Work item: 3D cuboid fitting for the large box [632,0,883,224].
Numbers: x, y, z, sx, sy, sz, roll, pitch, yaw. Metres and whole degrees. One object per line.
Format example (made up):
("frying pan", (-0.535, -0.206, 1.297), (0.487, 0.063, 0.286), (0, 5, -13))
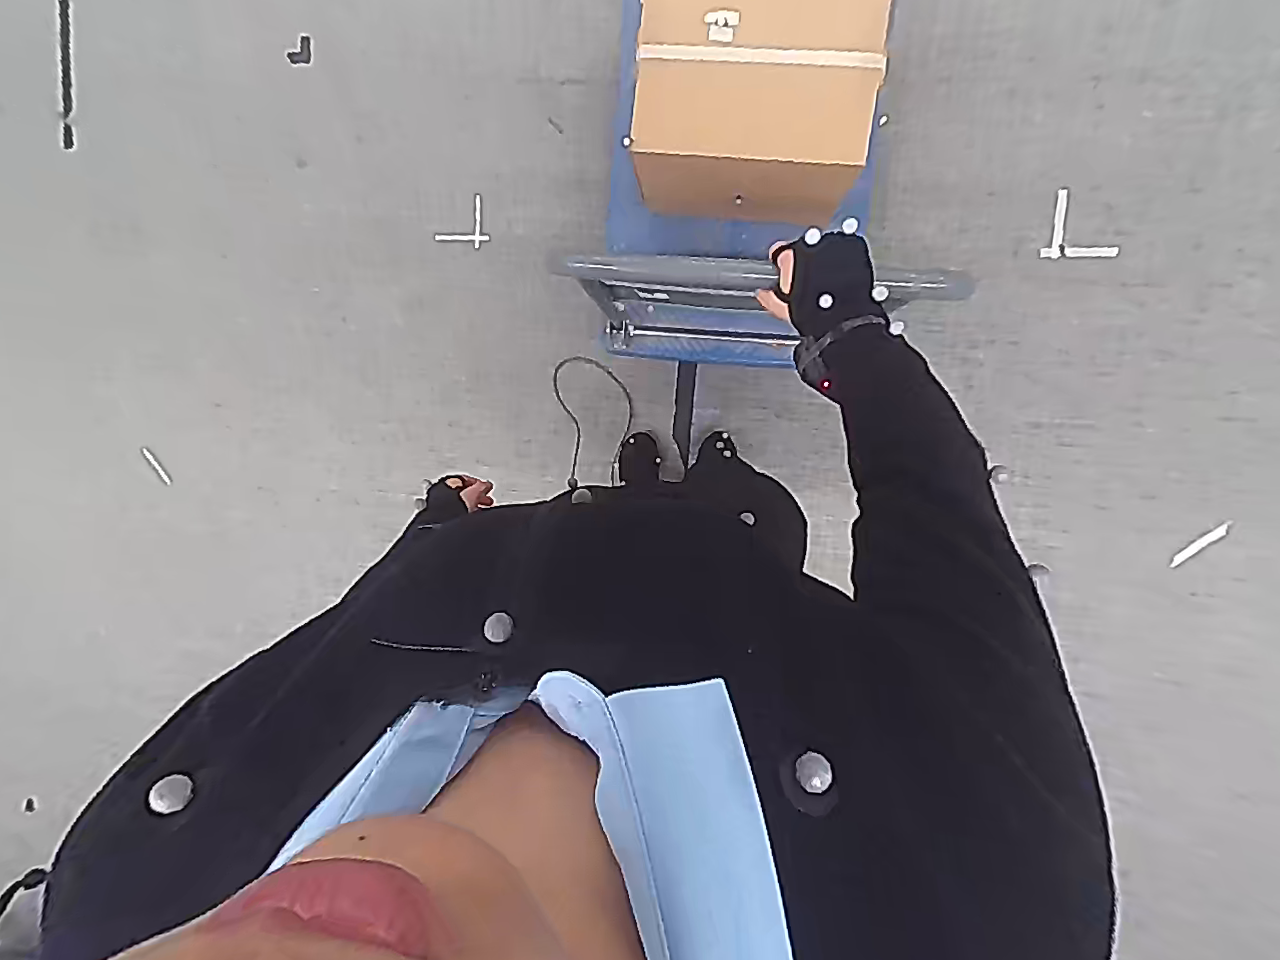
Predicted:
("large box", (0.215, -0.724, 1.070), (0.408, 0.320, 0.320), (7, 97, 6))
